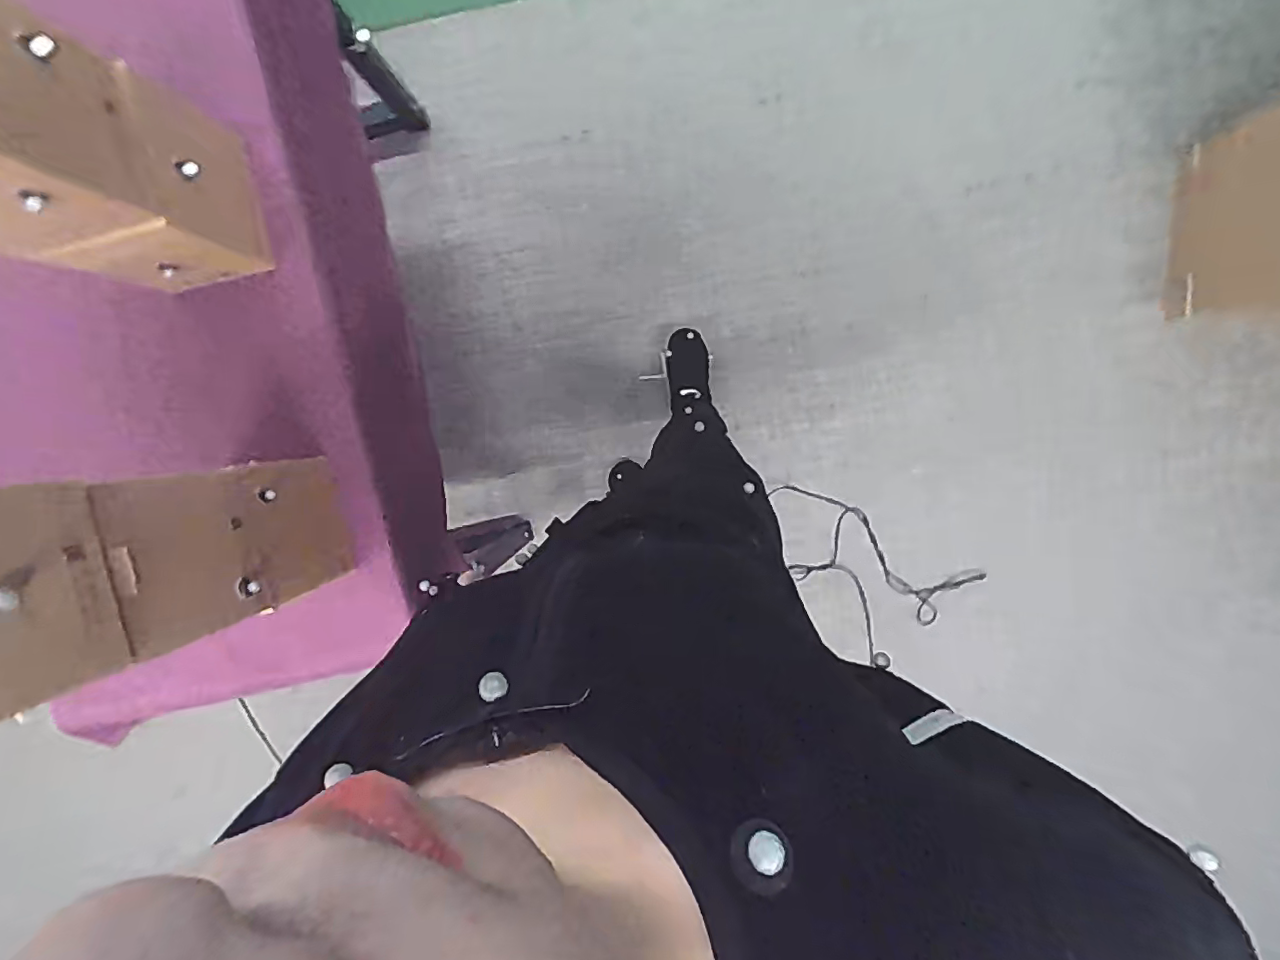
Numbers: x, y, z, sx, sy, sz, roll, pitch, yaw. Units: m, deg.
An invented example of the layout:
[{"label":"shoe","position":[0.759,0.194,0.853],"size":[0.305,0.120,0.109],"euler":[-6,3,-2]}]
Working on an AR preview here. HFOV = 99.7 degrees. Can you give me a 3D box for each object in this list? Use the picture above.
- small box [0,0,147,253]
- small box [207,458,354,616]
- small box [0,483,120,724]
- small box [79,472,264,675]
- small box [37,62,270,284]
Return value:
[{"label":"small box","position":[-0.619,-0.335,0.504],"size":[0.179,0.176,0.168],"euler":[-13,95,6]},{"label":"small box","position":[-0.512,0.075,0.709],"size":[0.168,0.176,0.179],"euler":[-13,94,5]},{"label":"small box","position":[-0.529,0.102,0.382],"size":[0.179,0.176,0.168],"euler":[-12,94,4]},{"label":"small box","position":[-0.524,0.092,0.547],"size":[0.179,0.176,0.168],"euler":[-13,94,6]},{"label":"small box","position":[-0.602,-0.354,0.666],"size":[0.168,0.176,0.179],"euler":[-11,96,4]}]
